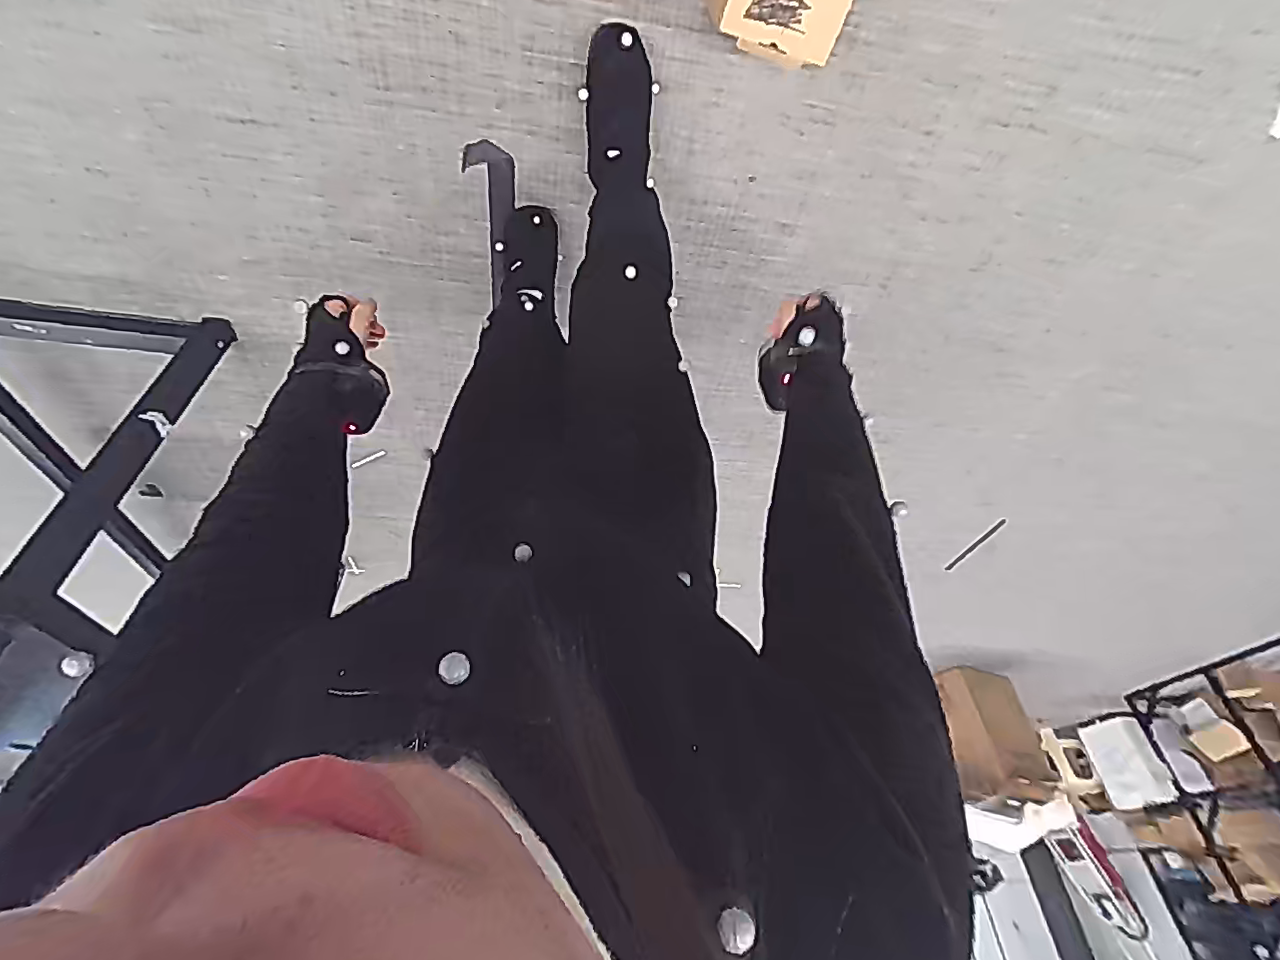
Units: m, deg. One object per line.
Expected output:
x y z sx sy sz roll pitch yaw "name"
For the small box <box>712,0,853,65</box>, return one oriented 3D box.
0.205 -0.718 0.737 0.168 0.176 0.179 8 140 -14 "small box"
